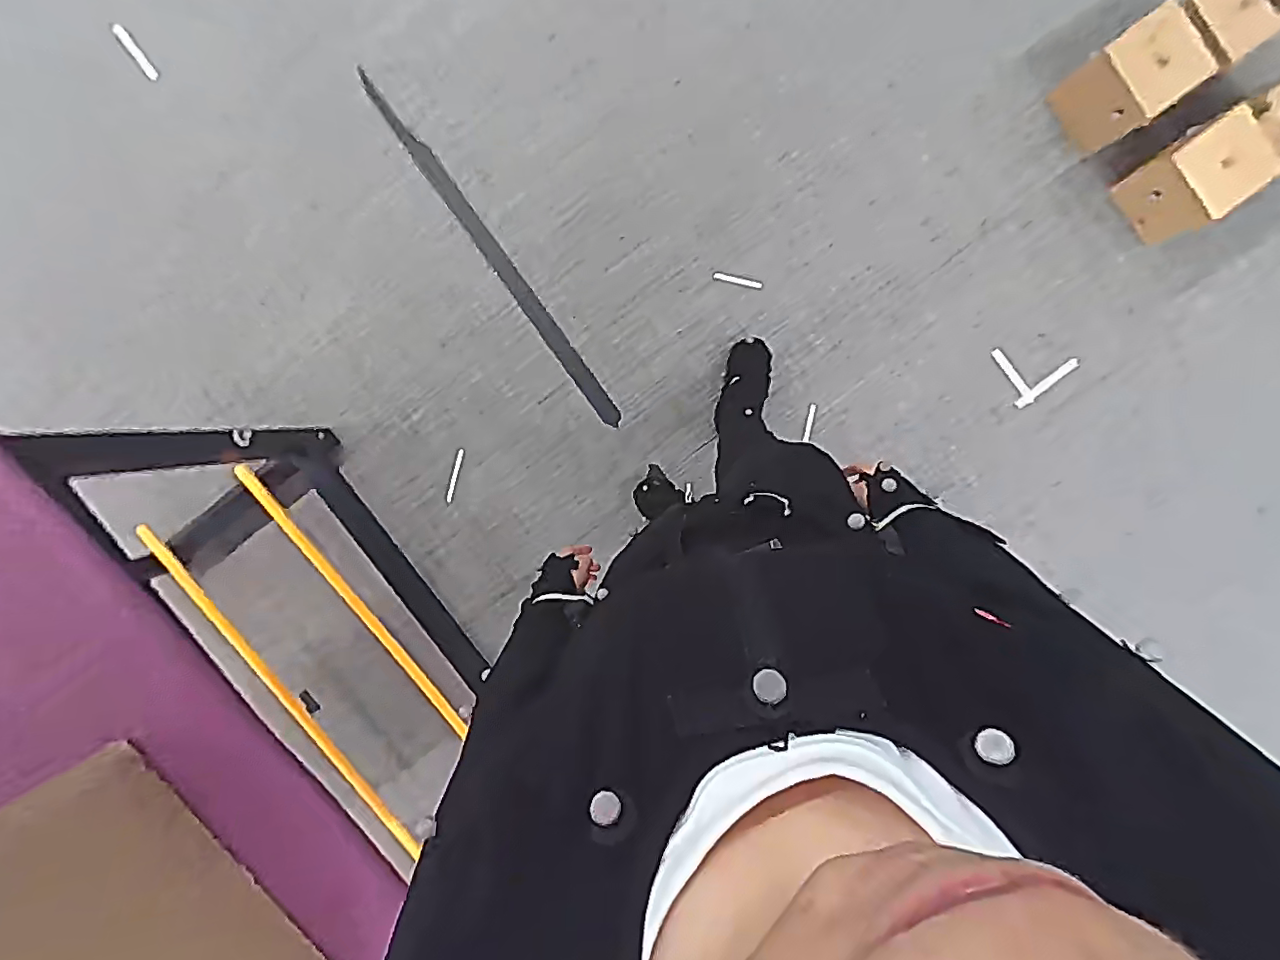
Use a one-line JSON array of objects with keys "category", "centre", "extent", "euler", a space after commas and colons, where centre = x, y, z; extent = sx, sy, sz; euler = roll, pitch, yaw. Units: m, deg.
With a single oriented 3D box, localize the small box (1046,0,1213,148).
[{"category": "small box", "centre": [1.051, -0.865, 1.176], "extent": [0.168, 0.176, 0.179], "euler": [-37, 93, 4]}]
